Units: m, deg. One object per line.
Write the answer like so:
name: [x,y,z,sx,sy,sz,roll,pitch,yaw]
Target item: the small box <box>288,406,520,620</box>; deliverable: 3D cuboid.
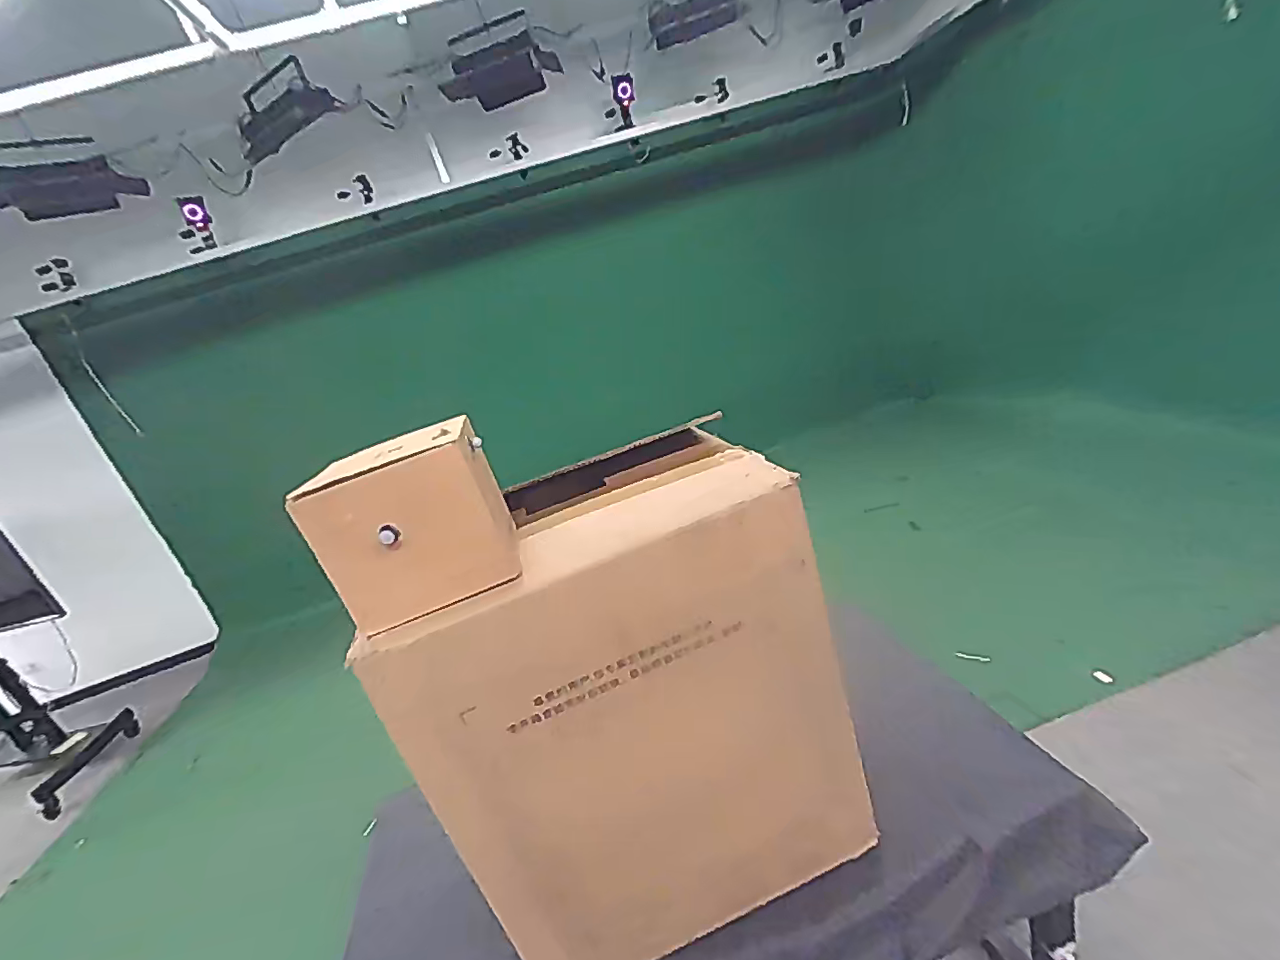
small box: [-0.256,0.033,0.634,0.179,0.176,0.168,-22,21,-7]
